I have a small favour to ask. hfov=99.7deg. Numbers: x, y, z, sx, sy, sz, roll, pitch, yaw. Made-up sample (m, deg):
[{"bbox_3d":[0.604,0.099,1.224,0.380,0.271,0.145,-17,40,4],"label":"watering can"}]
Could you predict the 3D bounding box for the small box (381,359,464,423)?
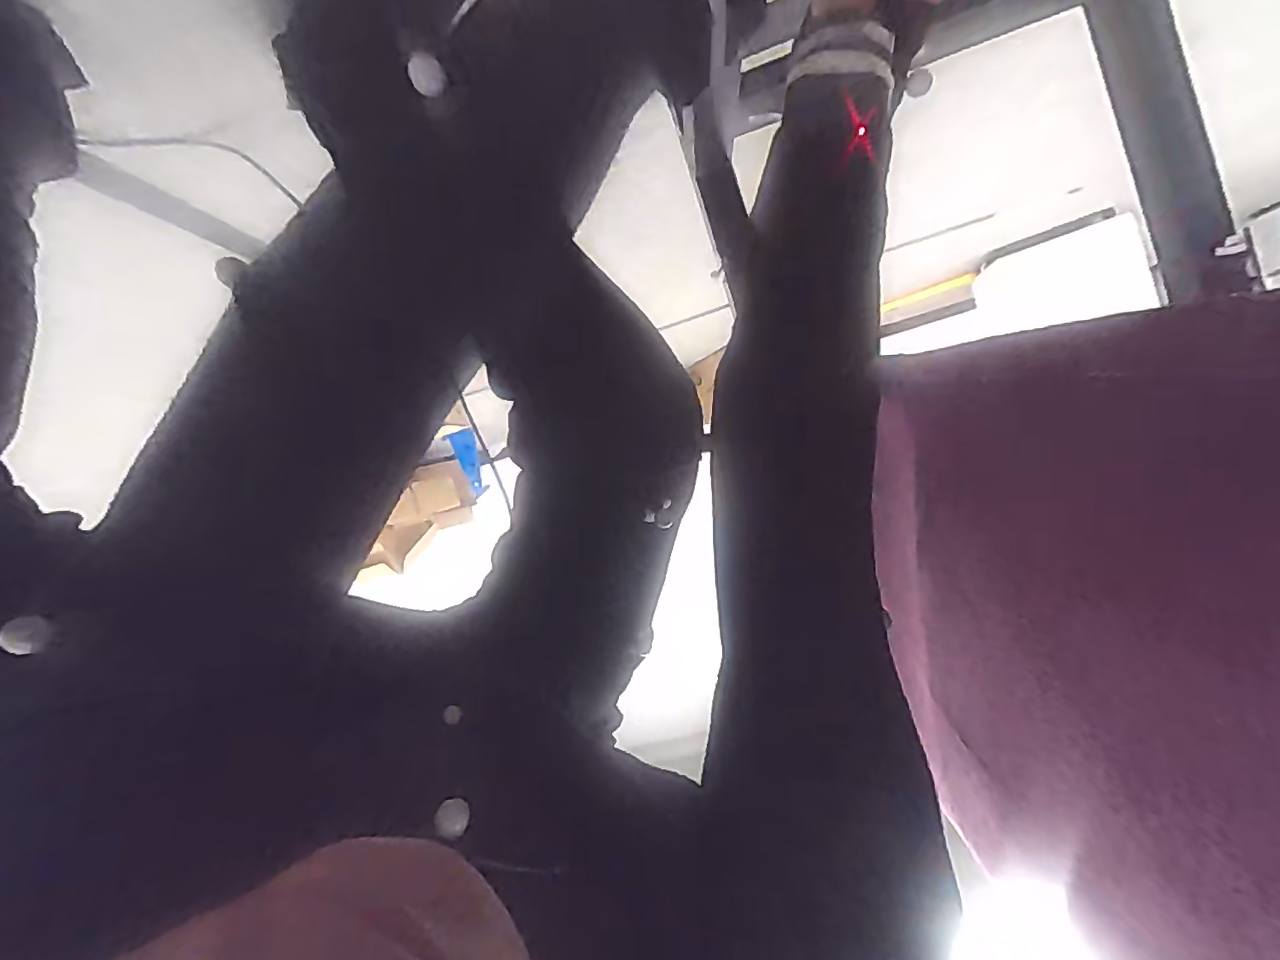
[{"bbox_3d":[-0.712,-0.291,1.776,0.168,0.176,0.179,-16,-178,10],"label":"small box"}]
